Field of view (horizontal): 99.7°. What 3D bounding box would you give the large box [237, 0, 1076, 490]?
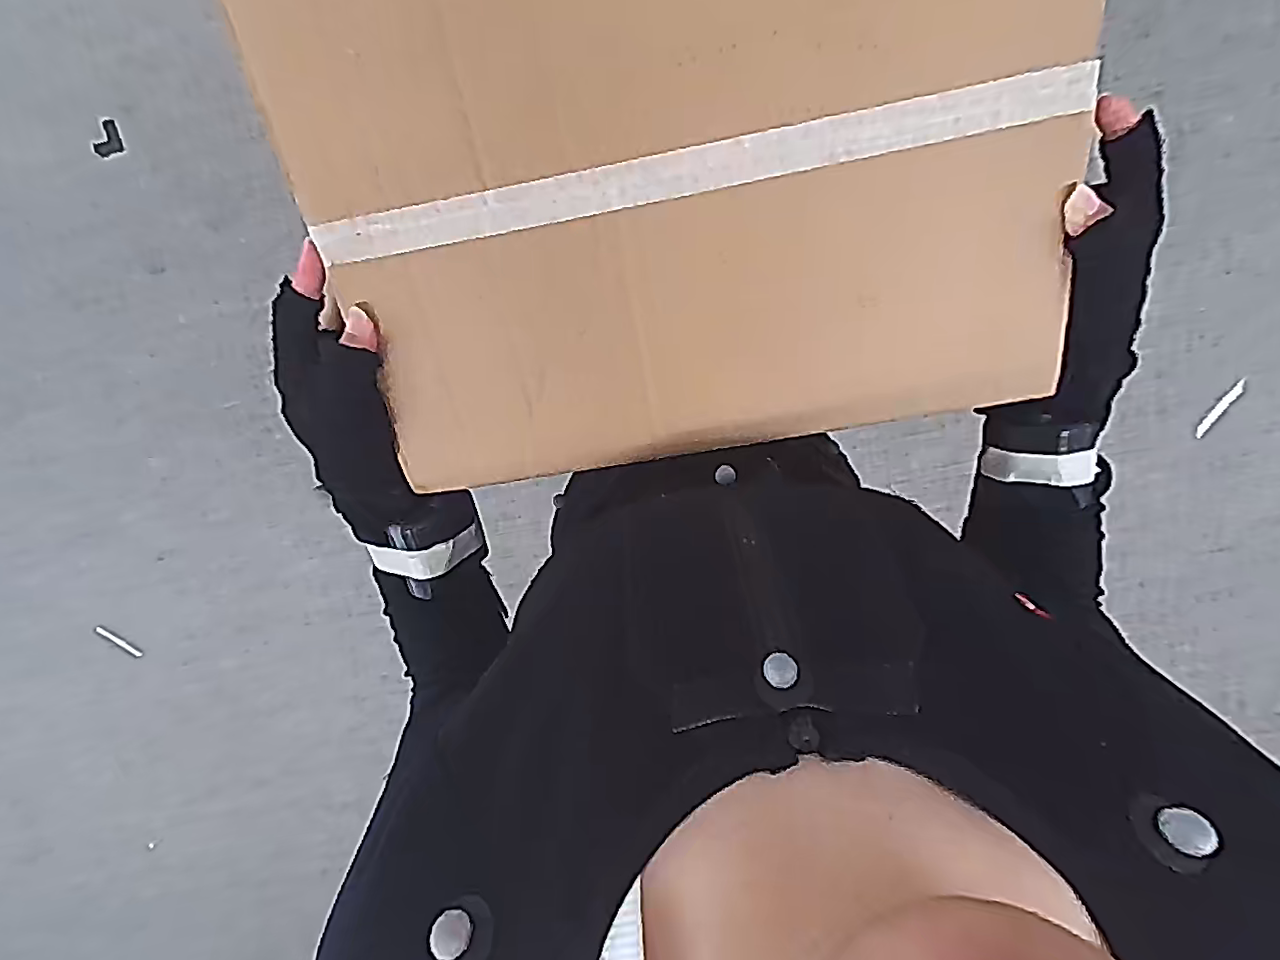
[{"bbox_3d":[0.023,-0.223,0.428,0.408,0.320,0.320,-9,113,5],"label":"large box"}]
